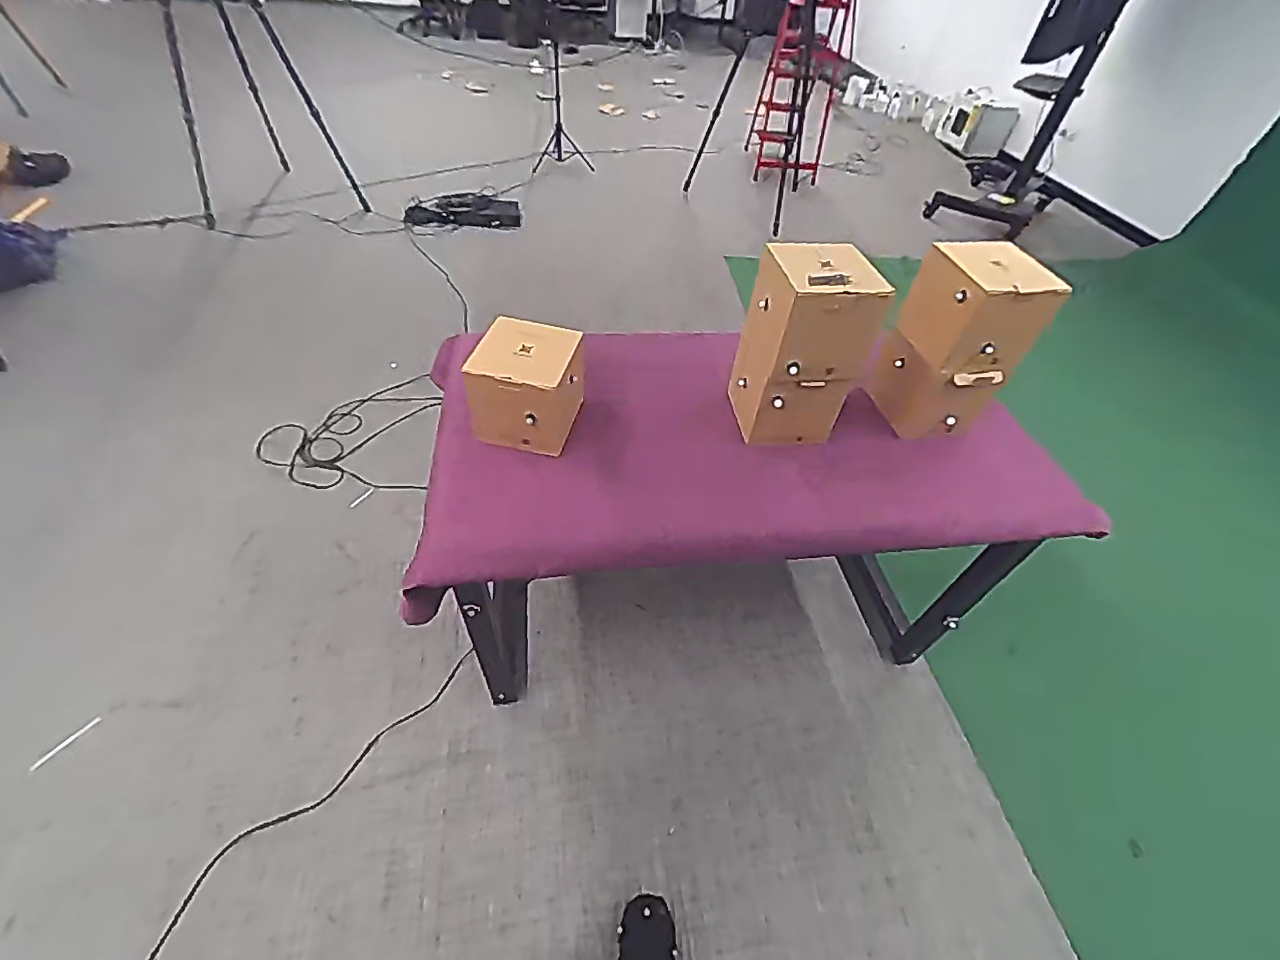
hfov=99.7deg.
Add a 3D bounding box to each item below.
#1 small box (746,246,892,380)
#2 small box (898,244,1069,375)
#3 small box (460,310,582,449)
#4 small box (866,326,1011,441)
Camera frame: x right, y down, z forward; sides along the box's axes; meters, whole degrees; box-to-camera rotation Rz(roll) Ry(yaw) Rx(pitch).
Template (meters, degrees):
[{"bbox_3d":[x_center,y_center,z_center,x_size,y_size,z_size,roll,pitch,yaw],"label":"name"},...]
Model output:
[{"bbox_3d":[0.298,-0.288,0.942,0.168,0.176,0.179,-3,47,-9],"label":"small box"},{"bbox_3d":[0.616,-0.314,1.000,0.168,0.176,0.179,-5,50,-10],"label":"small box"},{"bbox_3d":[-0.205,-0.182,0.993,0.168,0.176,0.179,12,48,4],"label":"small box"},{"bbox_3d":[0.601,-0.202,1.118,0.168,0.176,0.179,-6,49,-10],"label":"small box"}]
